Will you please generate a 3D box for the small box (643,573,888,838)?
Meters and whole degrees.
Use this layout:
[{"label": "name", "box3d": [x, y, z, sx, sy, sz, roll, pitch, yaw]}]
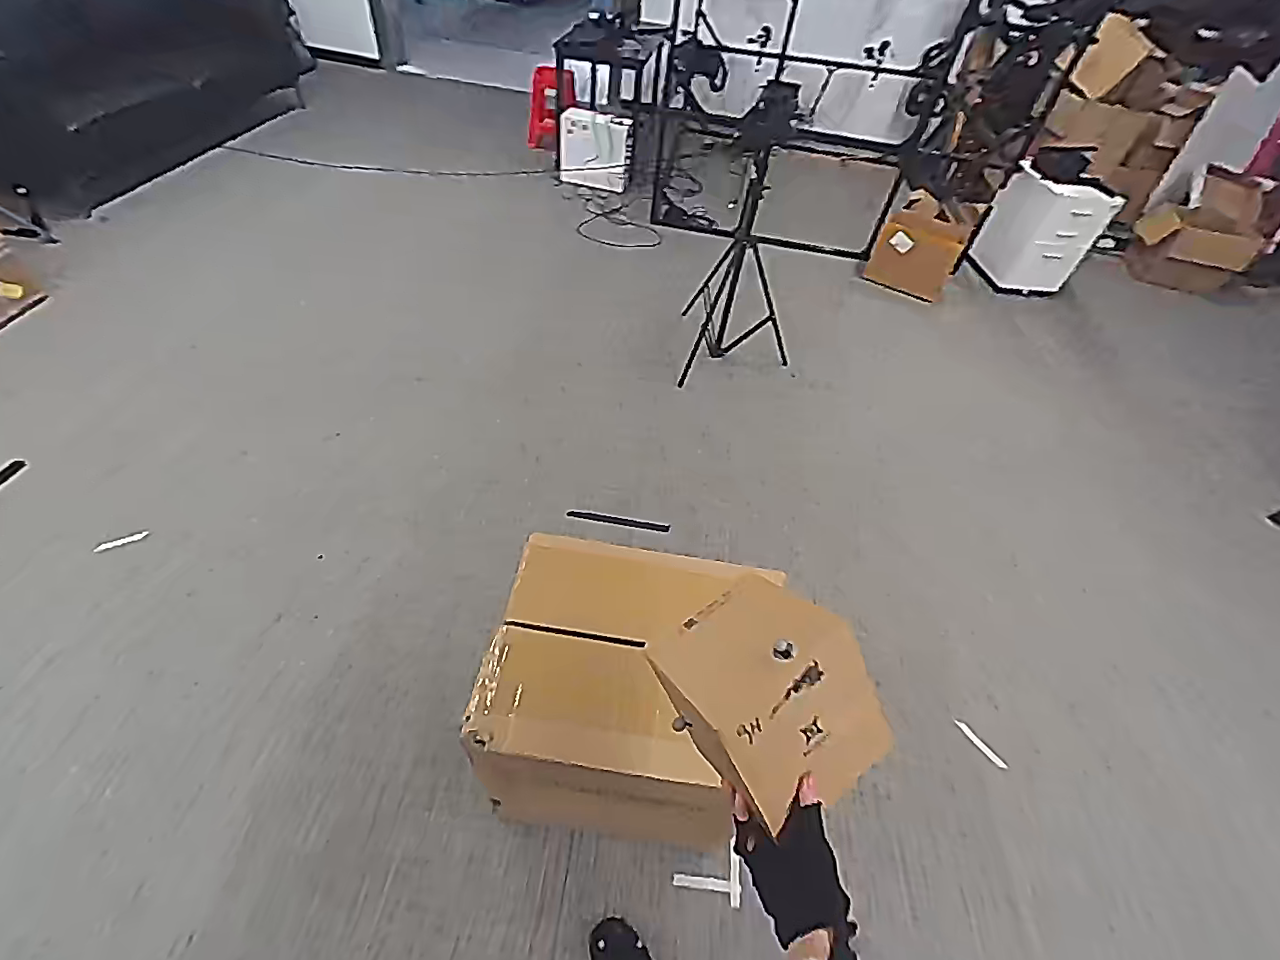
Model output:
[{"label": "small box", "box3d": [0.133, 0.233, 0.603, 0.168, 0.179, 0.176, -34, 19, -16]}]
